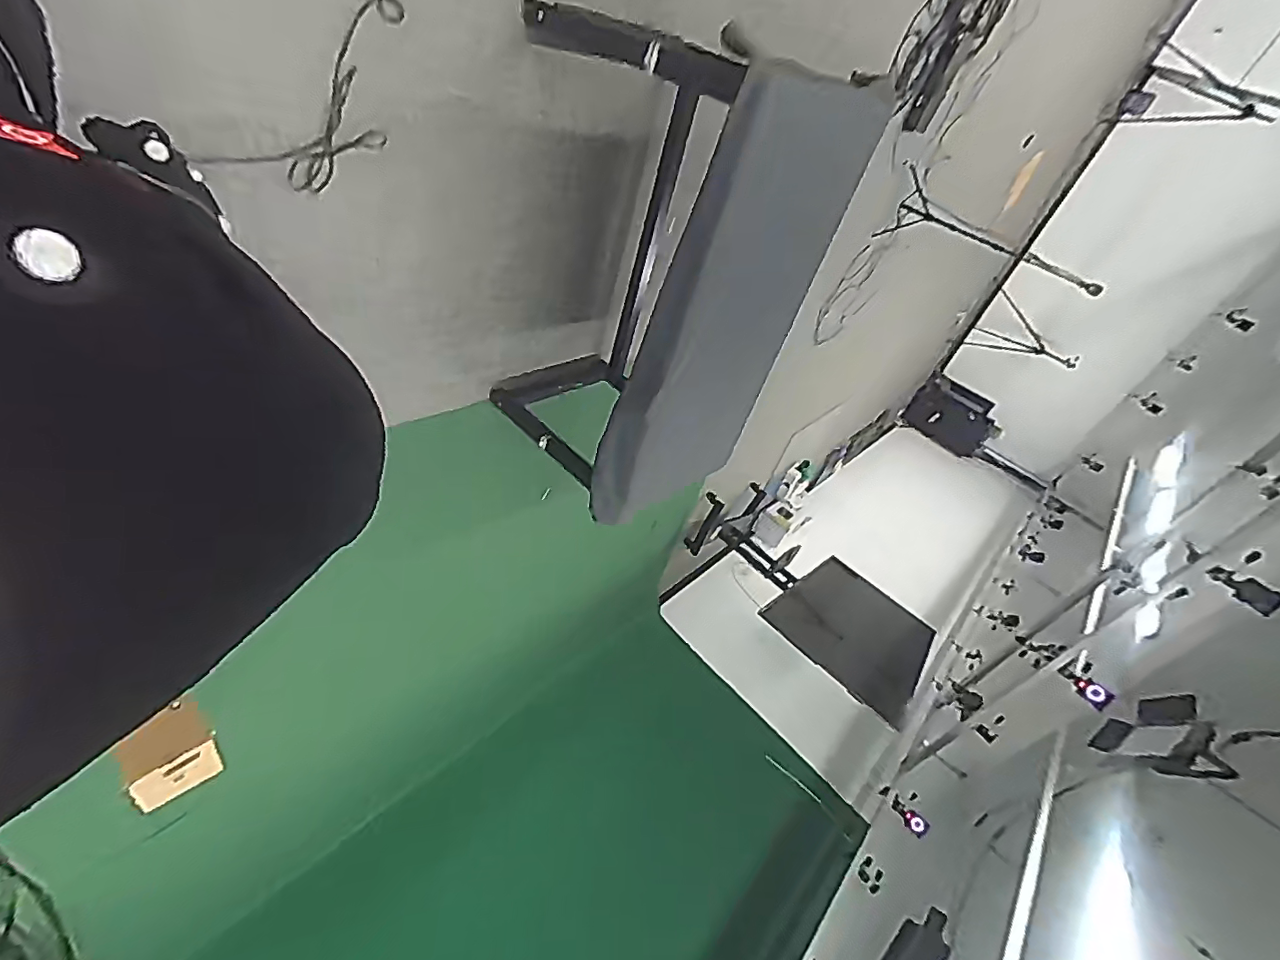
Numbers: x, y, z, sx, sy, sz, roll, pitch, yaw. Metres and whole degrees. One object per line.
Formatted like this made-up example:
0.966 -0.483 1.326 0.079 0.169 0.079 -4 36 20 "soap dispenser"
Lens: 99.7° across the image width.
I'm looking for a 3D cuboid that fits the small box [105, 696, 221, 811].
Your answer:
-1.200 0.679 1.364 0.168 0.176 0.179 -25 148 -44 "small box"
